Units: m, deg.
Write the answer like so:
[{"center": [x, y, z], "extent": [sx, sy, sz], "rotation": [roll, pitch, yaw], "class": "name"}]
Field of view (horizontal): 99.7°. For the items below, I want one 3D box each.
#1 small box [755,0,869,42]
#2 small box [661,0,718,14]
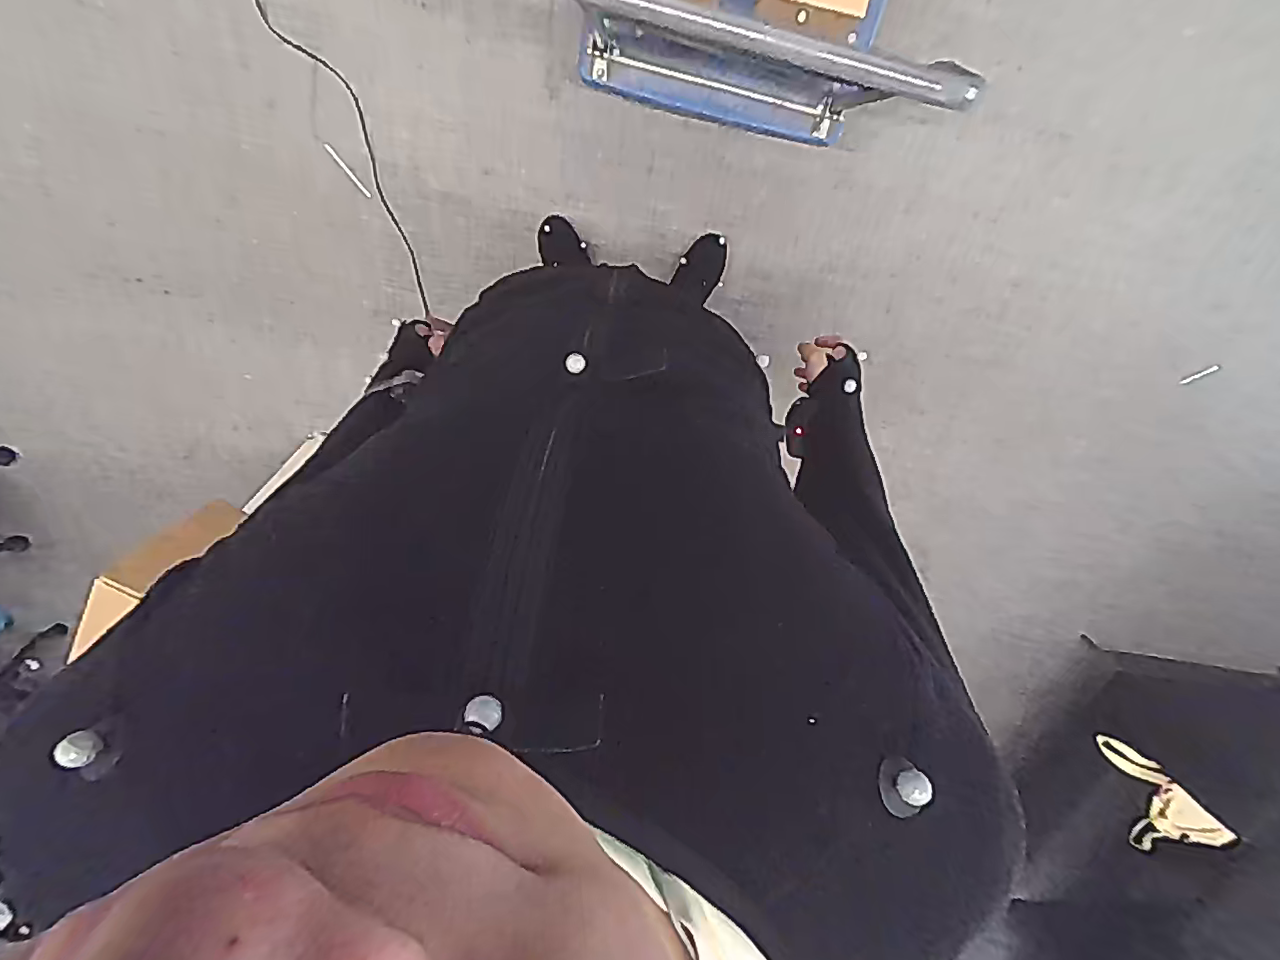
[{"center": [0.320, -0.921, 0.969], "extent": [0.179, 0.176, 0.168], "rotation": [10, 118, -6], "class": "small box"}, {"center": [0.084, -0.970, 0.948], "extent": [0.168, 0.176, 0.179], "rotation": [11, 118, -7], "class": "small box"}]
